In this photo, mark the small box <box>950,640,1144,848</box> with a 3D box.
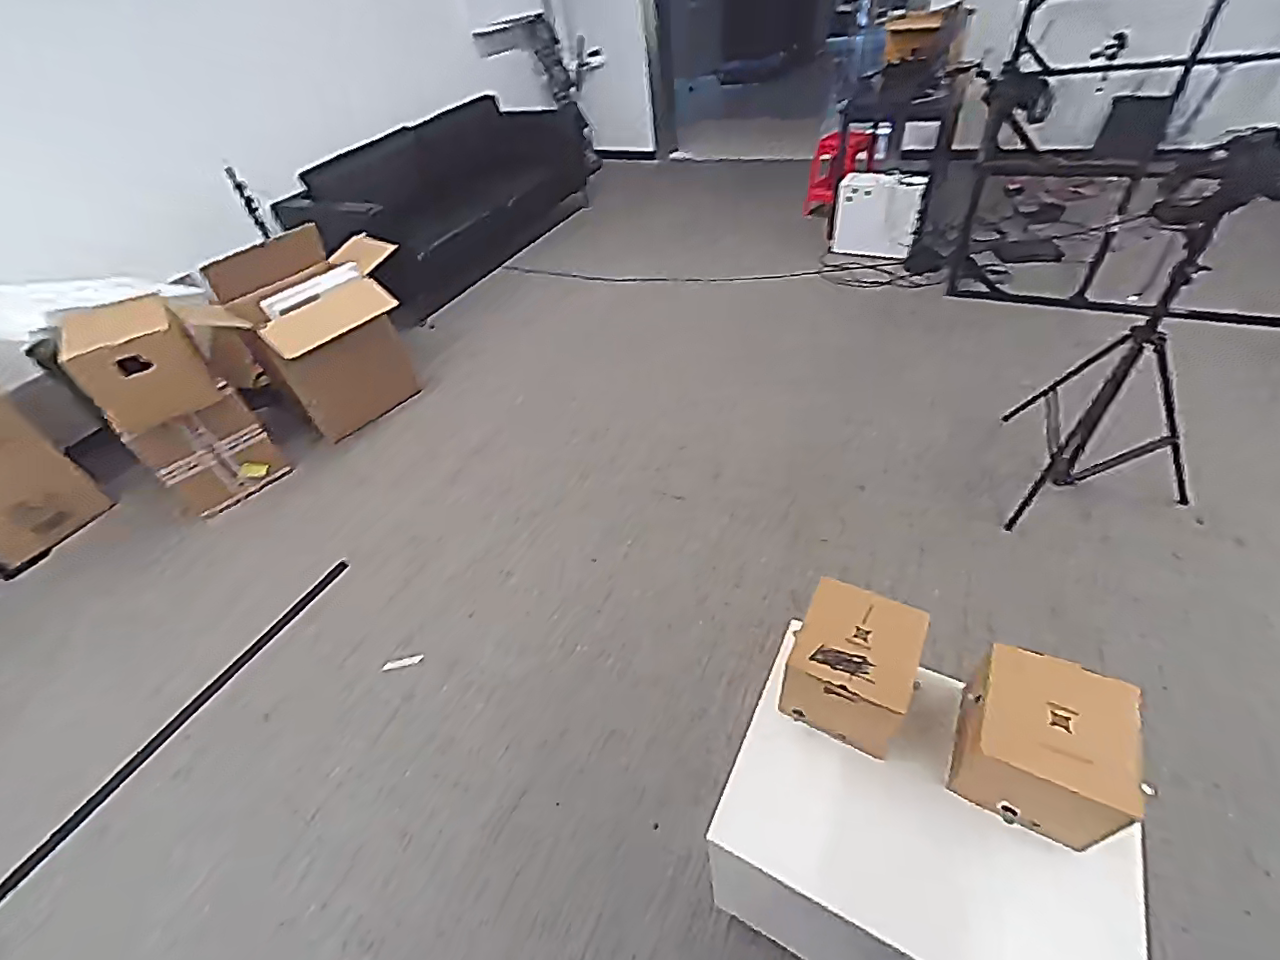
[{"bbox_3d":[0.546,0.361,0.744,0.168,0.176,0.179,16,51,26],"label":"small box"}]

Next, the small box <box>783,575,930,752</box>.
[{"bbox_3d":[0.332,0.289,0.850,0.168,0.176,0.179,19,50,25],"label":"small box"}]
